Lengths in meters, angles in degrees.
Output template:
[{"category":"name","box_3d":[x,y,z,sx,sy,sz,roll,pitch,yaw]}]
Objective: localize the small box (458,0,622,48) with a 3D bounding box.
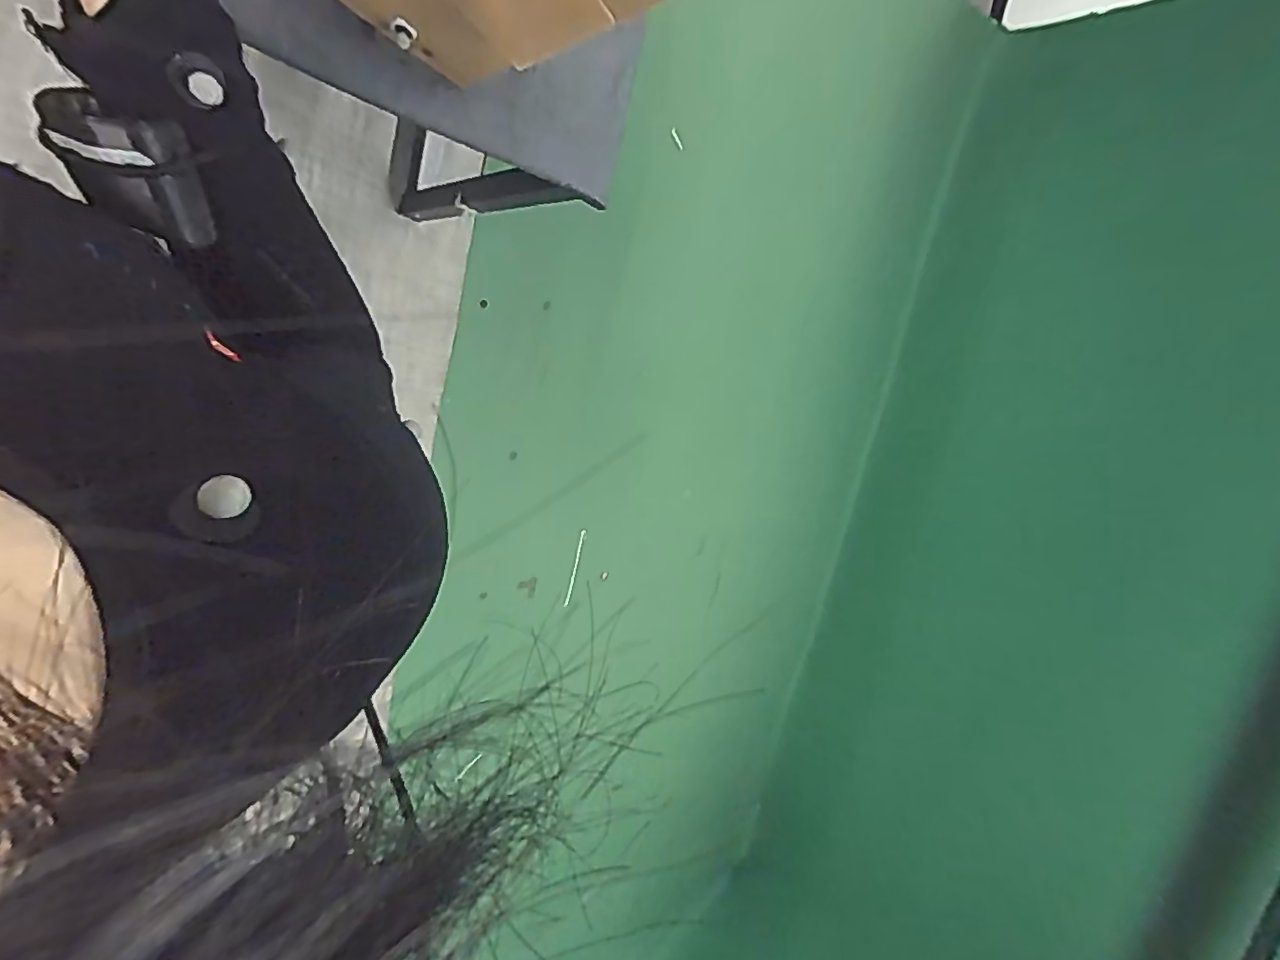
[{"category":"small box","box_3d":[-0.101,-0.532,0.477,0.179,0.176,0.168,23,88,-47]}]

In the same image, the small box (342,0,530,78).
[{"category":"small box","box_3d":[-0.211,-0.588,0.584,0.168,0.176,0.179,7,101,-47]}]
